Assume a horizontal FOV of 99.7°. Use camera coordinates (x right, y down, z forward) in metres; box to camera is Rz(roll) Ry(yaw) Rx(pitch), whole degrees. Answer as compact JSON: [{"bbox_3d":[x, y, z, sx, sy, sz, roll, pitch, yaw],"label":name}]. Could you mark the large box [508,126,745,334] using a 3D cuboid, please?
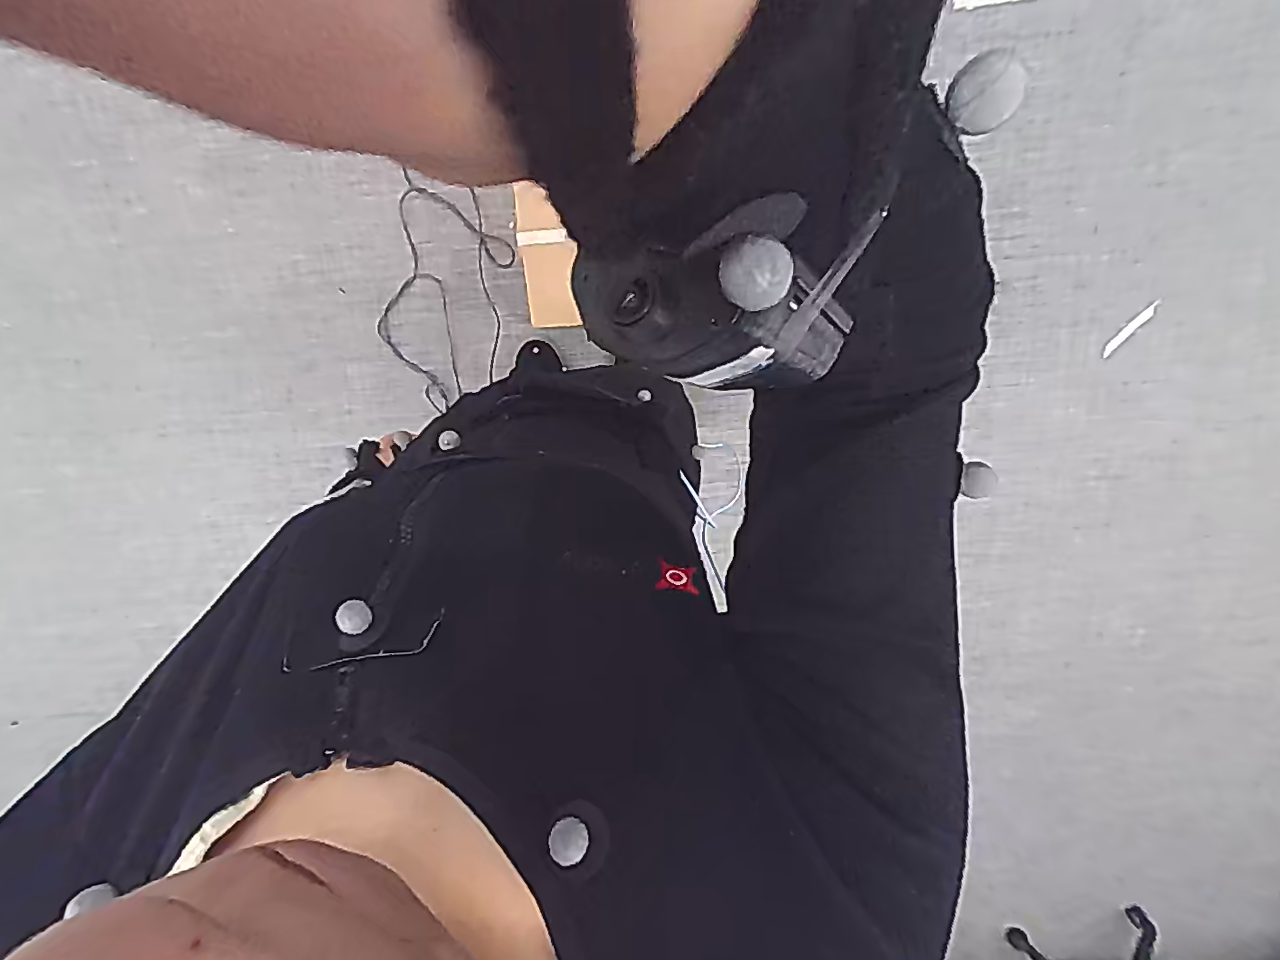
[{"bbox_3d":[-0.021,-0.478,1.108,0.408,0.320,0.320,-5,106,0],"label":"large box"}]
